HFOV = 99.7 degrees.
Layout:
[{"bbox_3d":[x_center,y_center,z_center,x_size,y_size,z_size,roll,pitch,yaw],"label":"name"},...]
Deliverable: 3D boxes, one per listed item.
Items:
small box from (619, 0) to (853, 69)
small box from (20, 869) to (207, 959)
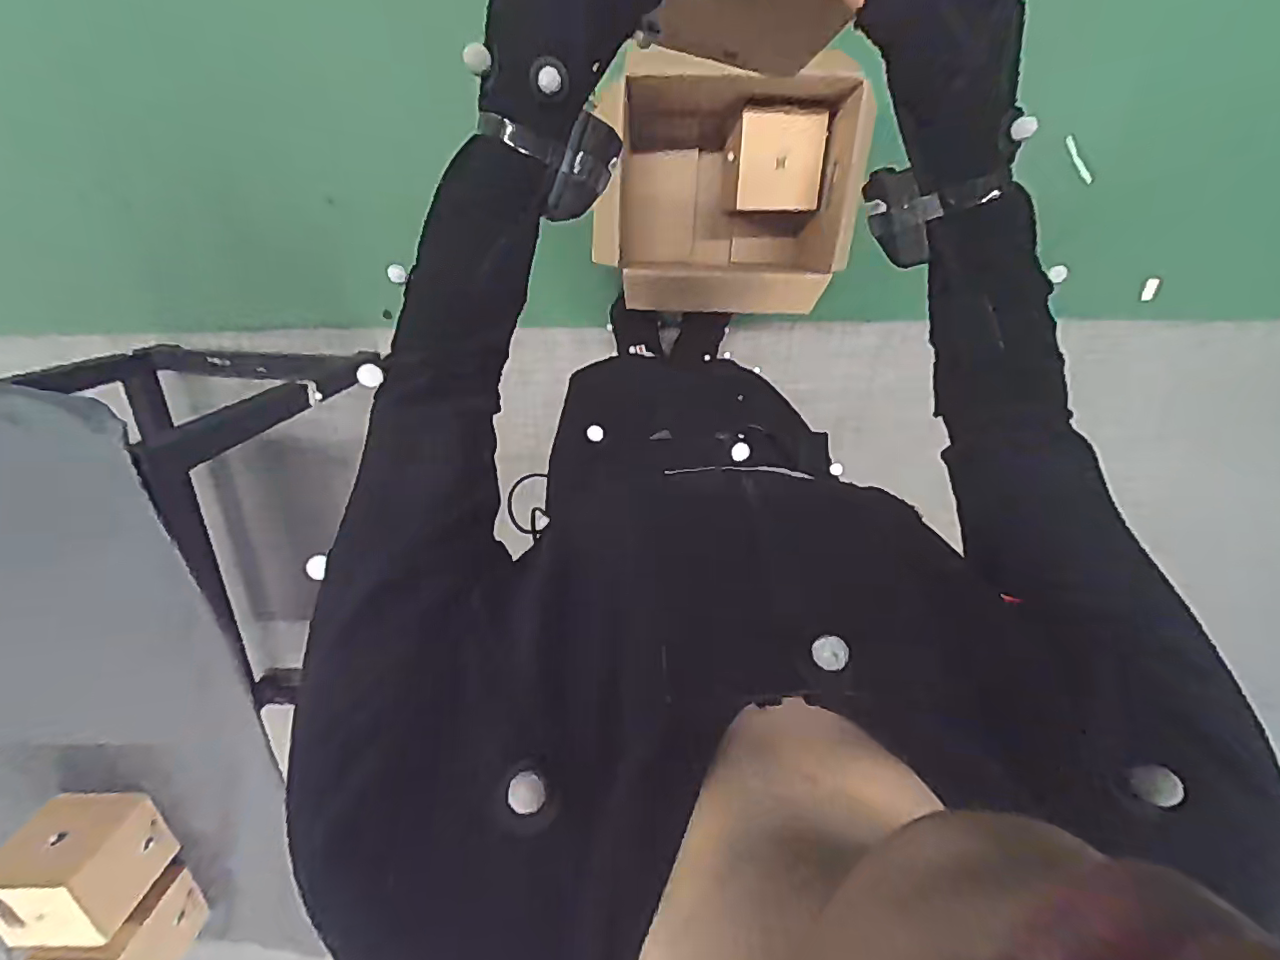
[{"bbox_3d":[0.077,-0.407,0.345,0.168,0.176,0.179,7,107,-9],"label":"small box"},{"bbox_3d":[-1.004,0.891,1.046,0.179,0.176,0.168,1,113,1],"label":"small box"}]
